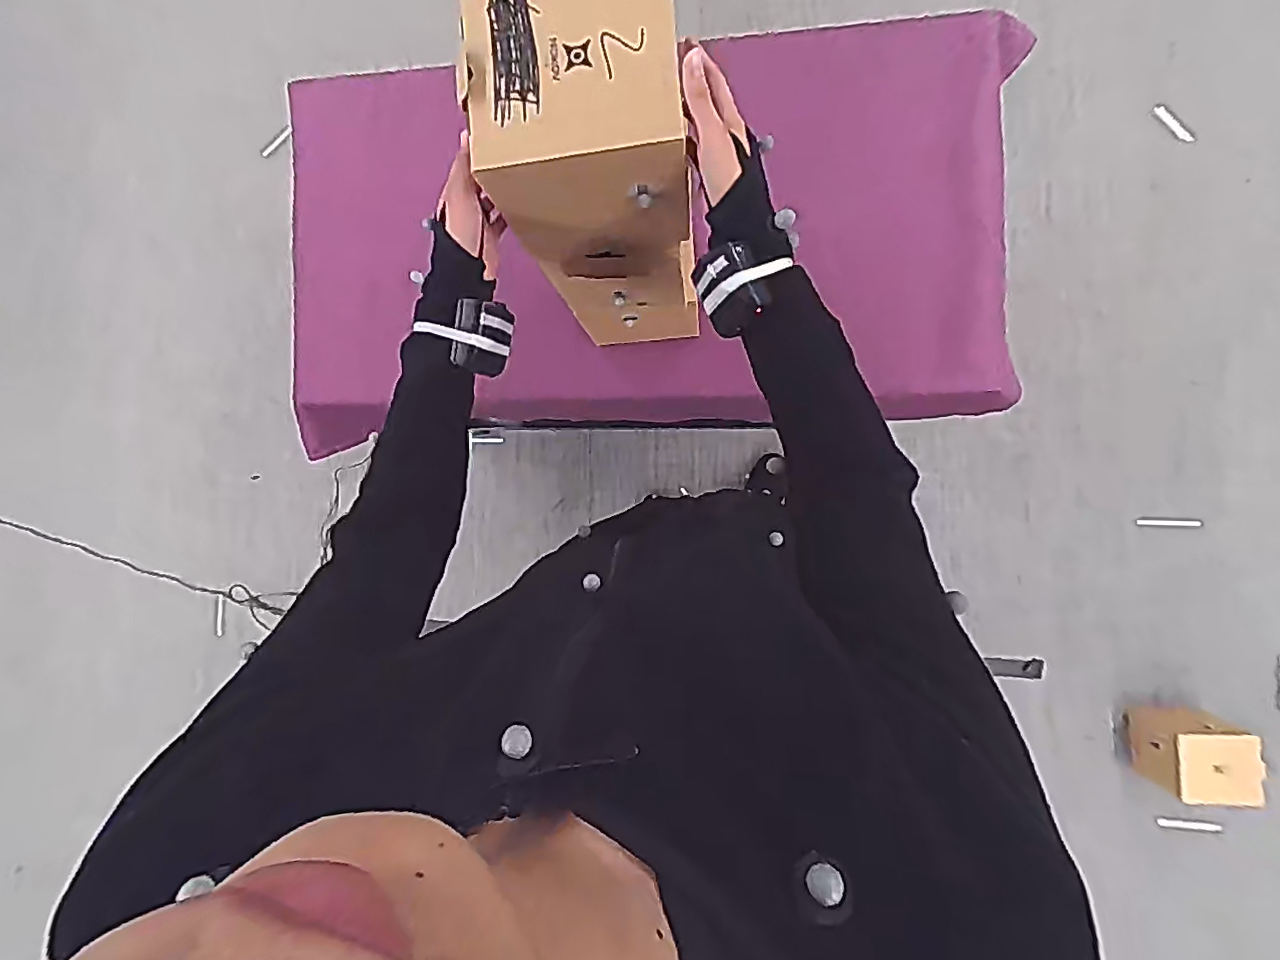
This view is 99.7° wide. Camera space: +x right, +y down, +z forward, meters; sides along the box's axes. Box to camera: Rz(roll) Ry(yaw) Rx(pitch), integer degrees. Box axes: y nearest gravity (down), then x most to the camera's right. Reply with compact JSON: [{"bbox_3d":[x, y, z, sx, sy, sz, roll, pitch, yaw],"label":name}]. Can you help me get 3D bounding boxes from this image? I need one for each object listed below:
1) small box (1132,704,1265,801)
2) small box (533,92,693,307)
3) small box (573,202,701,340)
[{"bbox_3d":[1.390,0.678,1.362,0.179,0.176,0.168,-3,89,7],"label":"small box"},{"bbox_3d":[-0.023,-0.328,0.663,0.168,0.176,0.179,2,89,8],"label":"small box"},{"bbox_3d":[0.000,-0.321,0.826,0.179,0.176,0.168,-4,89,7],"label":"small box"}]
